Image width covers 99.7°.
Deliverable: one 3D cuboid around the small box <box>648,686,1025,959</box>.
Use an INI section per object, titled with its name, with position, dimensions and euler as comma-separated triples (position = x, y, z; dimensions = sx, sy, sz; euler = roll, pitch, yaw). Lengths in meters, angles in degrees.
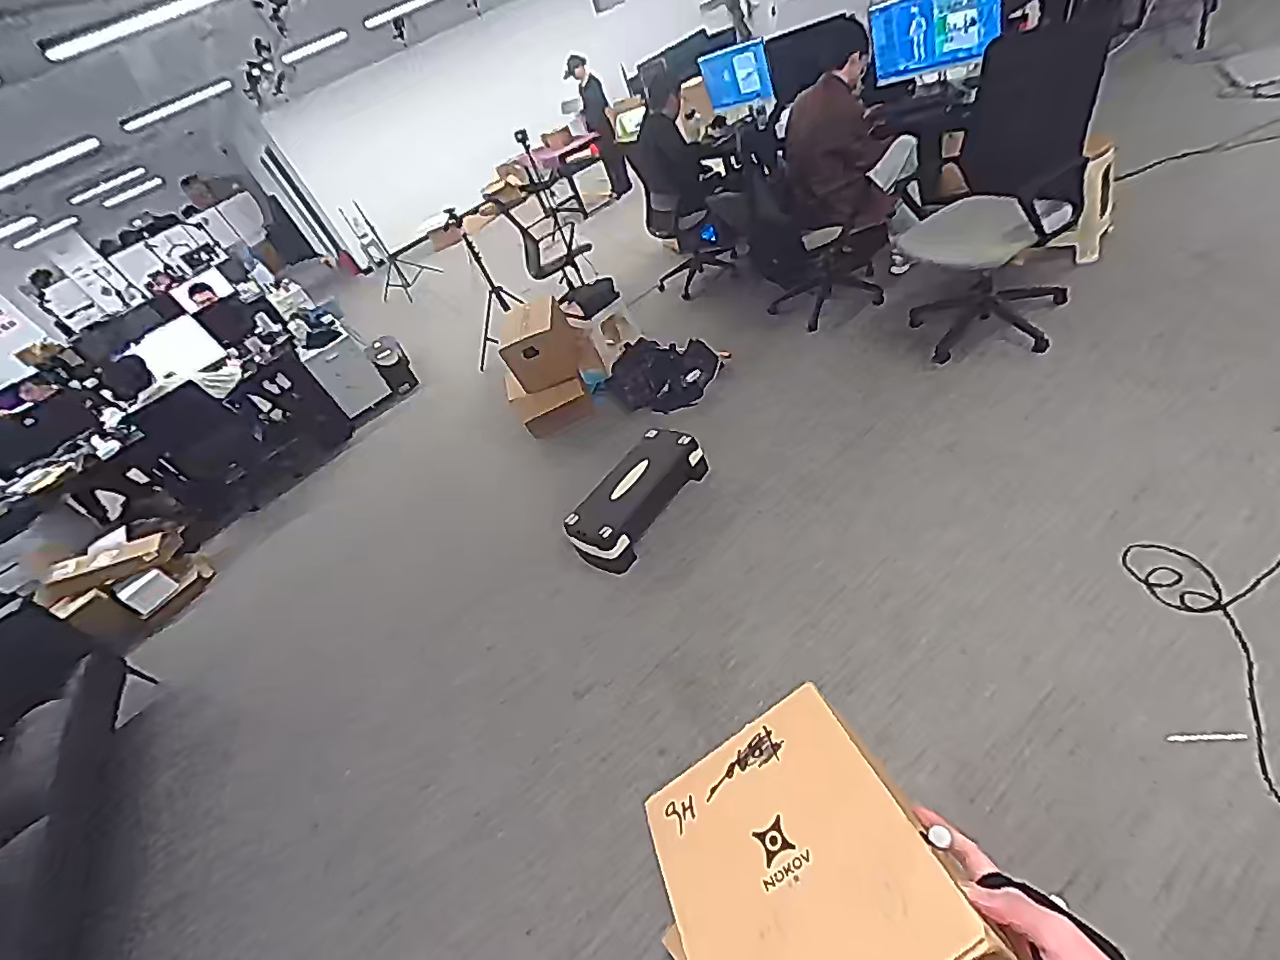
[small box]
position = 0.138, 0.296, 0.392
dimensions = 0.168, 0.176, 0.179
euler = -38, 31, 3
